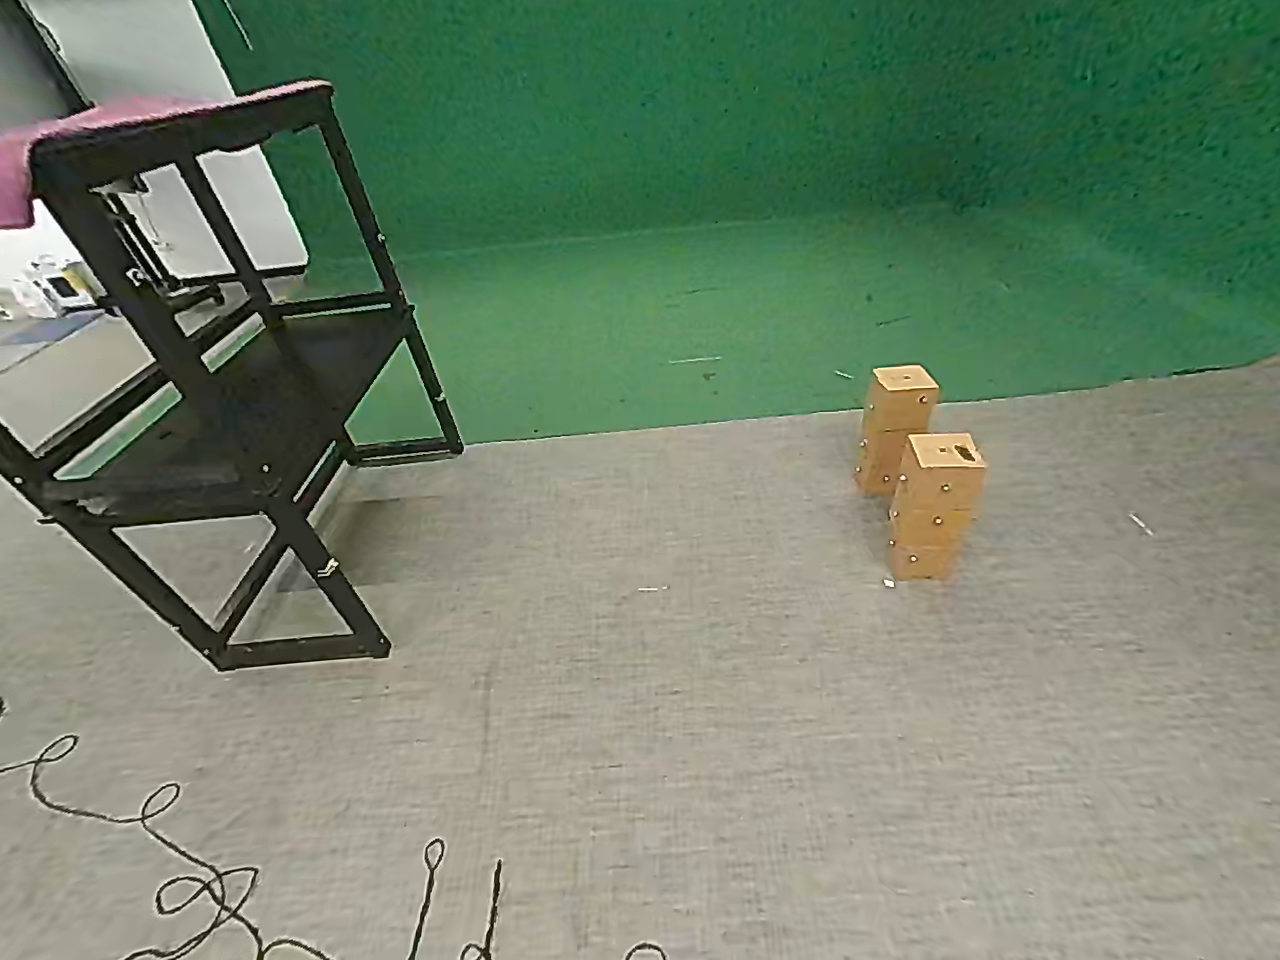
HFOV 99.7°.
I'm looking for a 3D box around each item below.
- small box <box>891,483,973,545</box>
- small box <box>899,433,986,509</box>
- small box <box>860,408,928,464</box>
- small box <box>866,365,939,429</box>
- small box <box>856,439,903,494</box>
[{"bbox_3d":[0.936,0.098,1.750,0.179,0.176,0.168,0,41,9],"label":"small box"},{"bbox_3d":[0.911,-0.025,1.644,0.179,0.176,0.168,0,41,11],"label":"small box"},{"bbox_3d":[0.963,-0.176,2.065,0.179,0.176,0.168,-5,39,4],"label":"small box"},{"bbox_3d":[0.943,-0.299,1.956,0.179,0.176,0.168,-4,39,3],"label":"small box"},{"bbox_3d":[0.980,-0.056,2.172,0.179,0.176,0.168,-3,41,6],"label":"small box"}]
